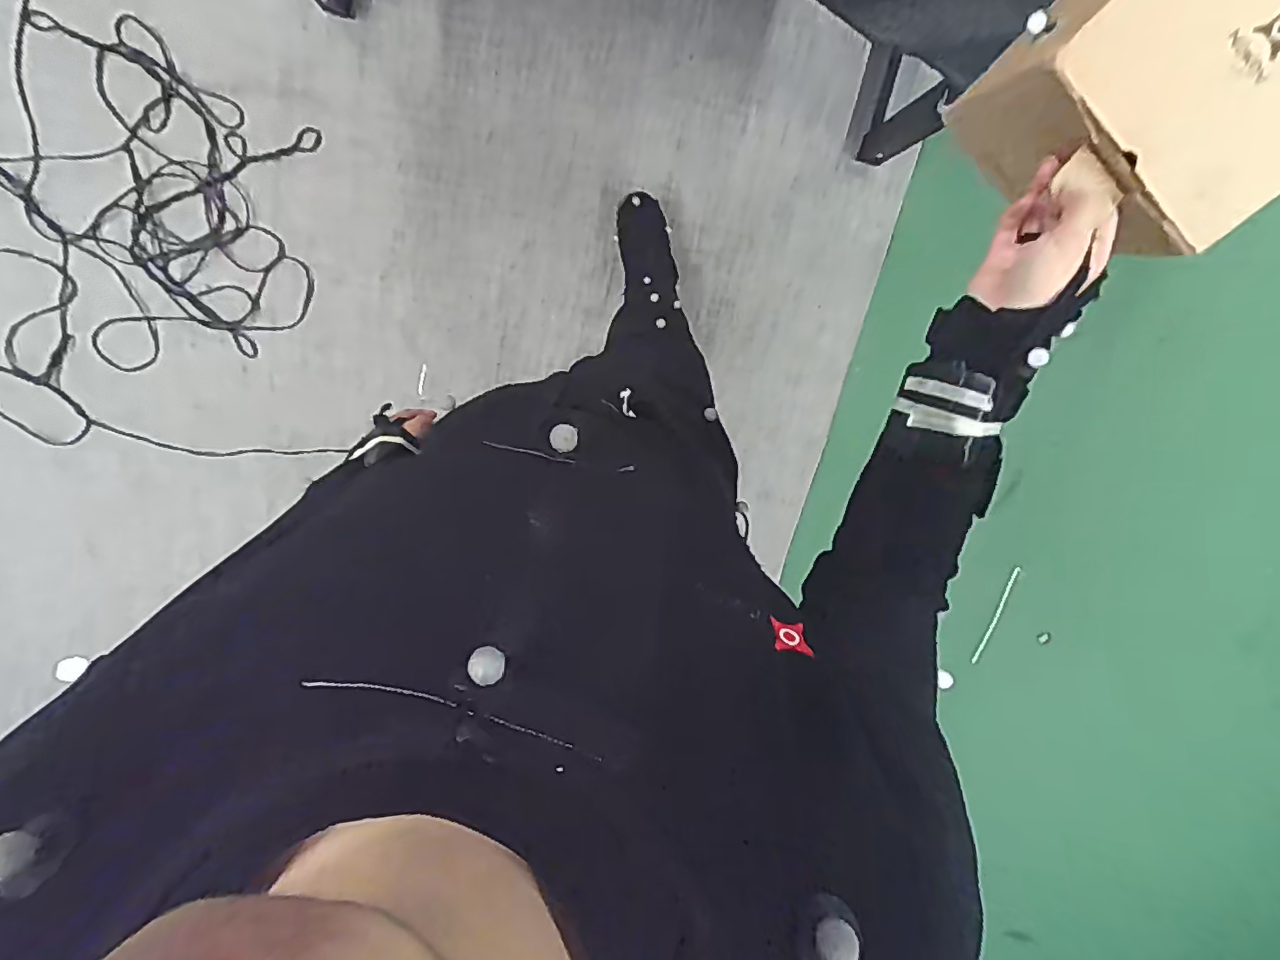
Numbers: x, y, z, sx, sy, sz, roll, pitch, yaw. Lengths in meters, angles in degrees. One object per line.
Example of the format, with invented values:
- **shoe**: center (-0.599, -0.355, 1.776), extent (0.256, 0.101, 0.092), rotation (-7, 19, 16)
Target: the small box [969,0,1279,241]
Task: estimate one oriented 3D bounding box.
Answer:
- **small box**: center (0.372, -0.293, 0.380), extent (0.168, 0.176, 0.179), rotation (41, 111, -12)
